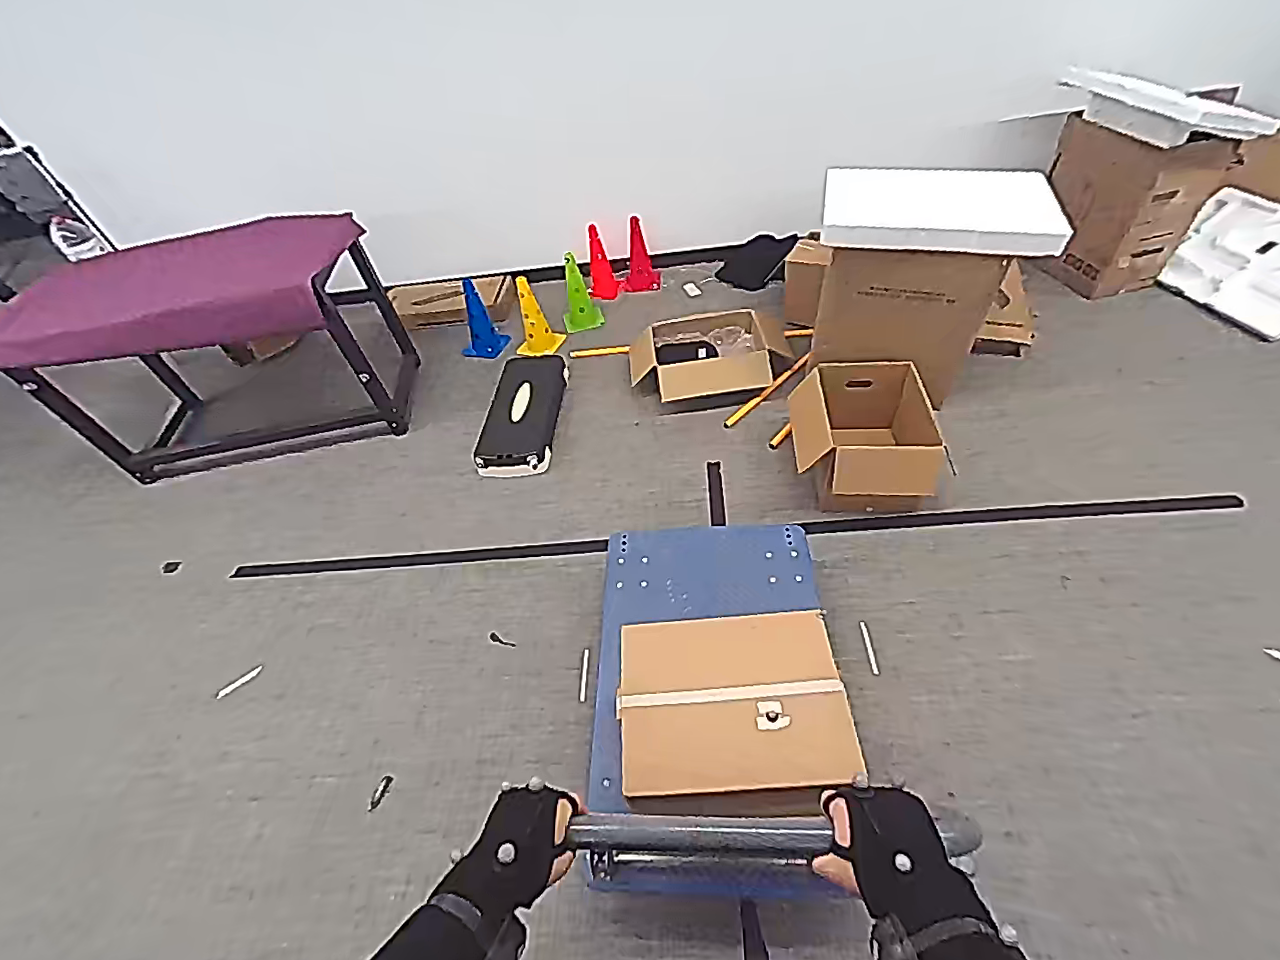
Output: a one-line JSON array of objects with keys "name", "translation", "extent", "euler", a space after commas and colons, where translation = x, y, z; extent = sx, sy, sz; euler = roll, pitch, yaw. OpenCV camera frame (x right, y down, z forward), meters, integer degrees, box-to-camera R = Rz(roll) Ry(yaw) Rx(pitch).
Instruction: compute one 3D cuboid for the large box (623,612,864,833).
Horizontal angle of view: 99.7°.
[{"name": "large box", "translation": [0.183, 0.501, 1.110], "extent": [0.408, 0.320, 0.320], "euler": [-5, 48, 3]}]
